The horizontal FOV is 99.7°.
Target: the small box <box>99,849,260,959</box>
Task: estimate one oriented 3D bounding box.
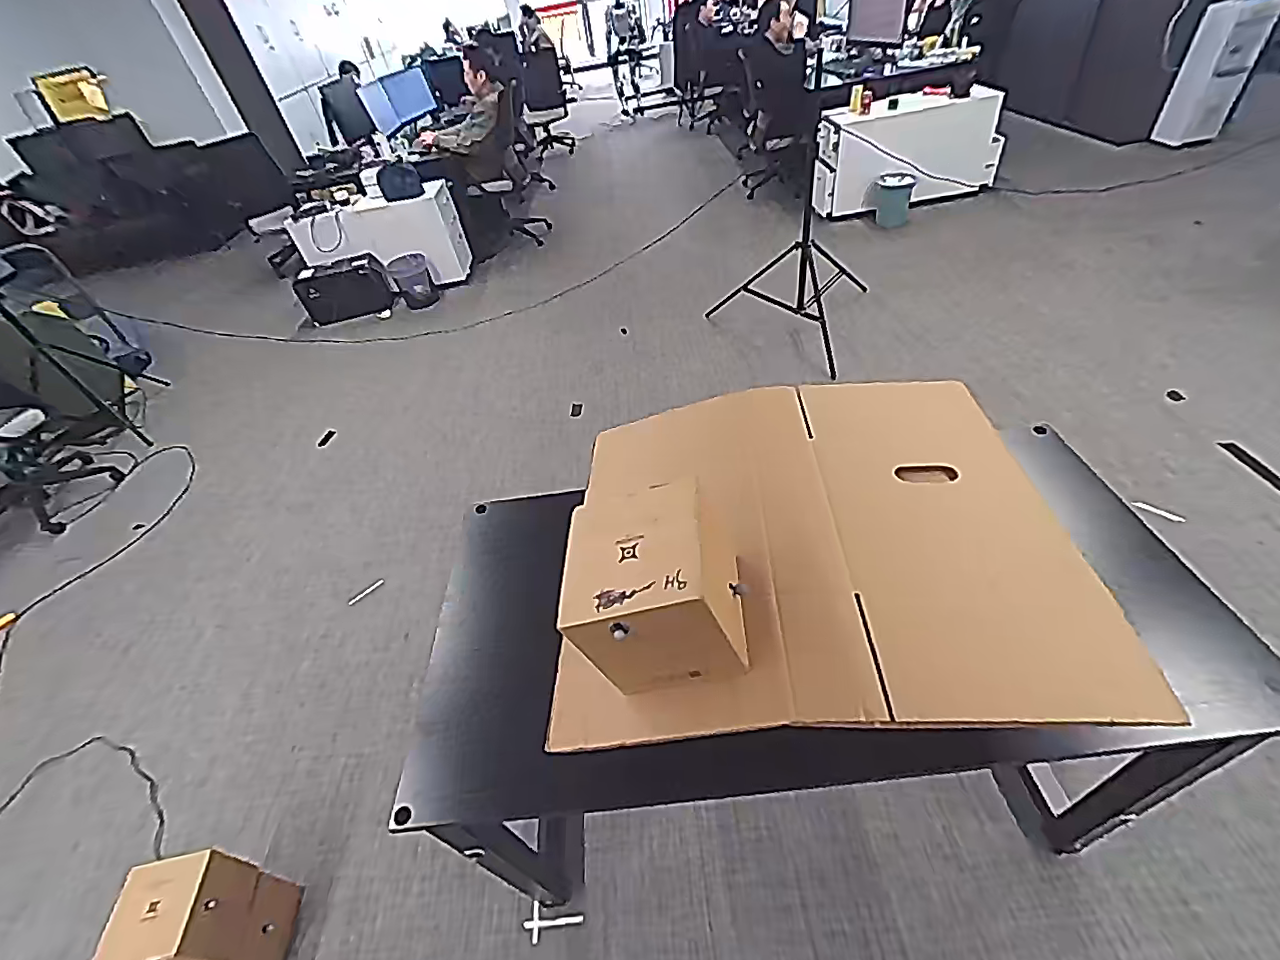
[{"bbox_3d":[-0.930,0.897,1.111,0.168,0.176,0.179,-12,42,-3],"label":"small box"}]

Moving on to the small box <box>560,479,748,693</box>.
[{"bbox_3d":[0.025,0.132,0.662,0.168,0.176,0.179,-17,40,18],"label":"small box"}]

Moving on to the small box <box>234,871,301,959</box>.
[{"bbox_3d":[-0.904,1.017,1.217,0.168,0.176,0.179,-11,44,0],"label":"small box"}]
